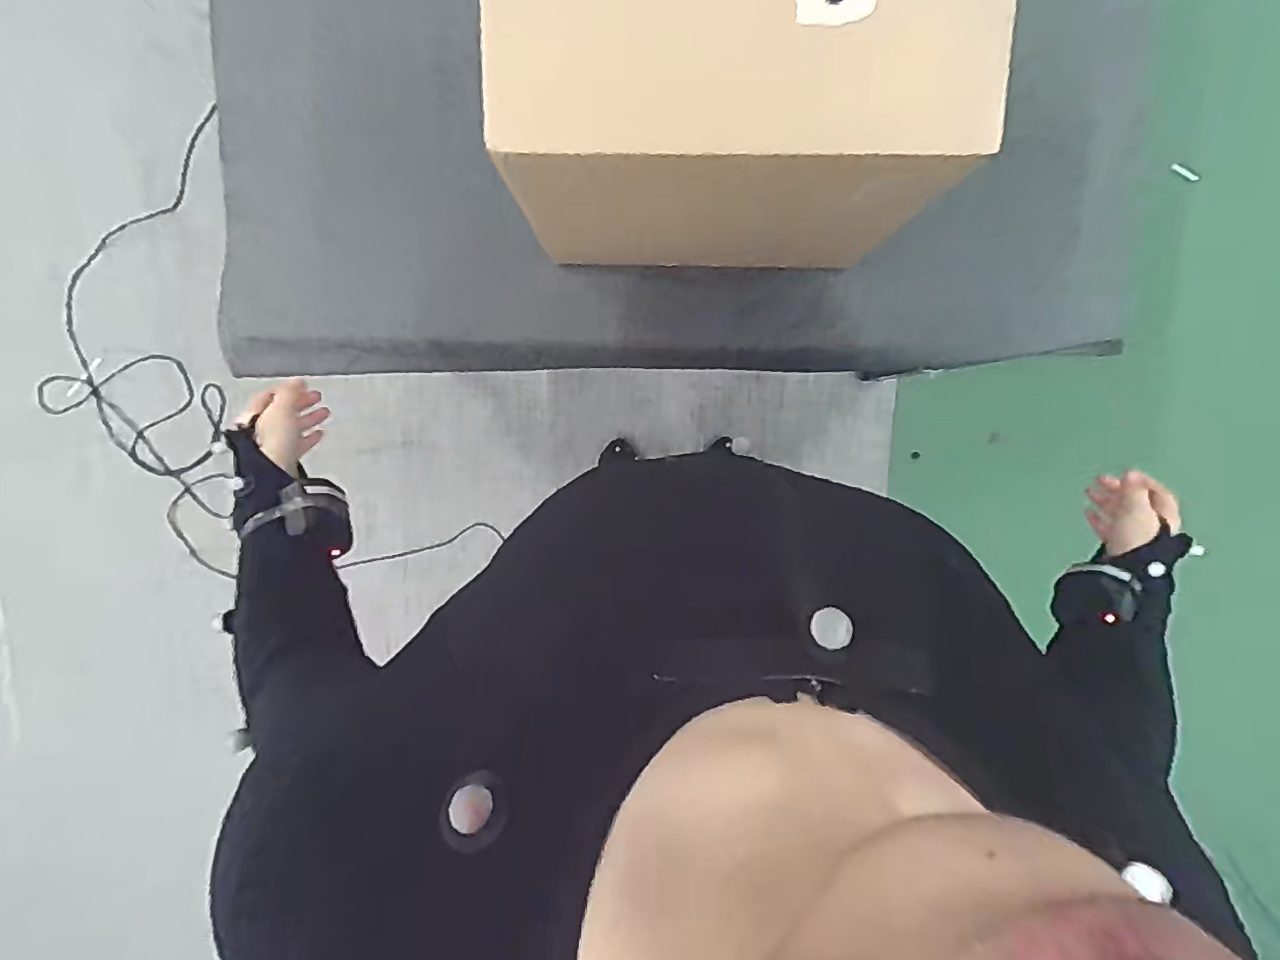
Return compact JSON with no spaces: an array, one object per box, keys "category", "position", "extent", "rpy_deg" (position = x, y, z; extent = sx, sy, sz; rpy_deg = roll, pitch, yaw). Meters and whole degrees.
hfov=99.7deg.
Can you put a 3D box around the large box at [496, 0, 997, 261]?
[{"category":"large box","position":[0.082,-0.435,0.570],"extent":[0.408,0.320,0.320],"rpy_deg":[0,97,0]}]
